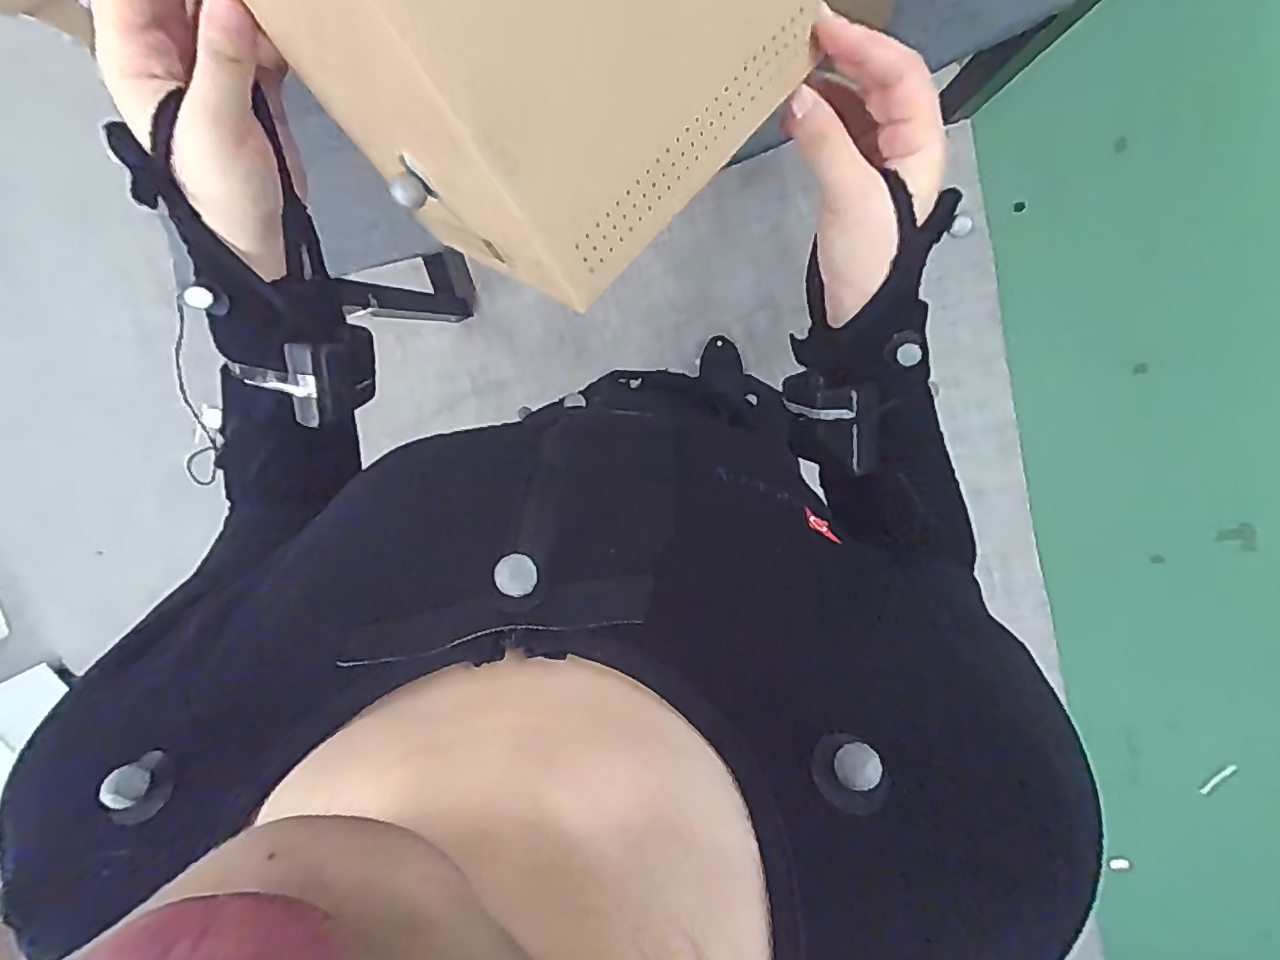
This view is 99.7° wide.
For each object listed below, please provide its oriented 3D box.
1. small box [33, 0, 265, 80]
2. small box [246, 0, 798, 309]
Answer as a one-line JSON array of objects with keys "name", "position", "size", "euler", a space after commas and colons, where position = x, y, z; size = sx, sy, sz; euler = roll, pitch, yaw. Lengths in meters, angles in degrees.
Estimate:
[{"name": "small box", "position": [-0.571, -0.596, 0.591], "size": [0.168, 0.176, 0.179], "euler": [-18, 102, 11]}, {"name": "small box", "position": [-0.051, -0.212, 0.234], "size": [0.179, 0.176, 0.168], "euler": [-49, 54, -4]}]
